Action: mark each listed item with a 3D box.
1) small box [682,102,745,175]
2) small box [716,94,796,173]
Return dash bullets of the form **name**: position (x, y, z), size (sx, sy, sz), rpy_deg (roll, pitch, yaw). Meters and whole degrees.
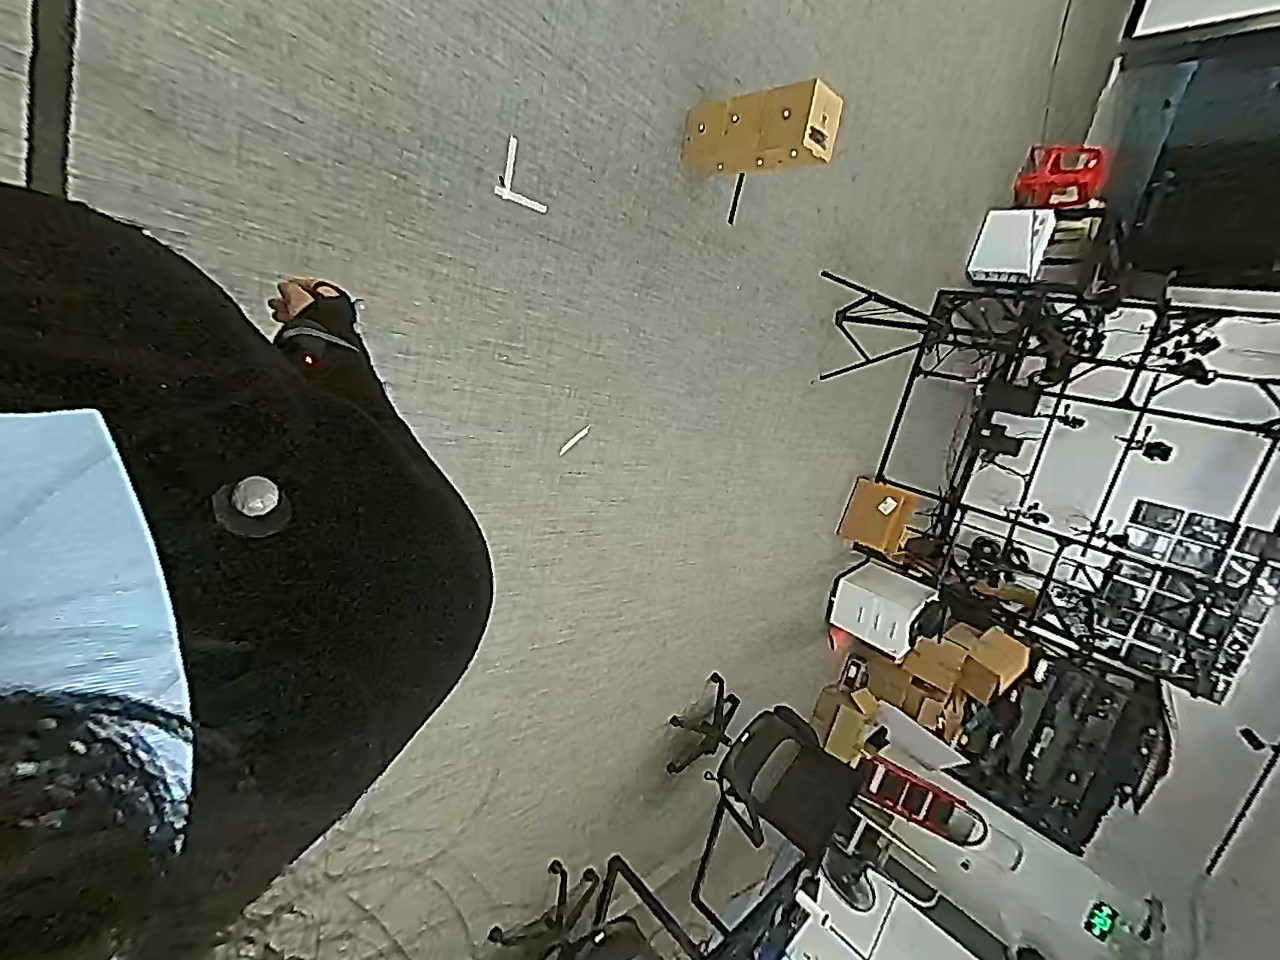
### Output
- **small box**: position (0.271, -1.185, 1.895), size (0.179, 0.176, 0.168), rpy_deg (-4, 111, -46)
- **small box**: position (0.383, -1.136, 1.788), size (0.179, 0.176, 0.168), rpy_deg (-1, 109, -45)
